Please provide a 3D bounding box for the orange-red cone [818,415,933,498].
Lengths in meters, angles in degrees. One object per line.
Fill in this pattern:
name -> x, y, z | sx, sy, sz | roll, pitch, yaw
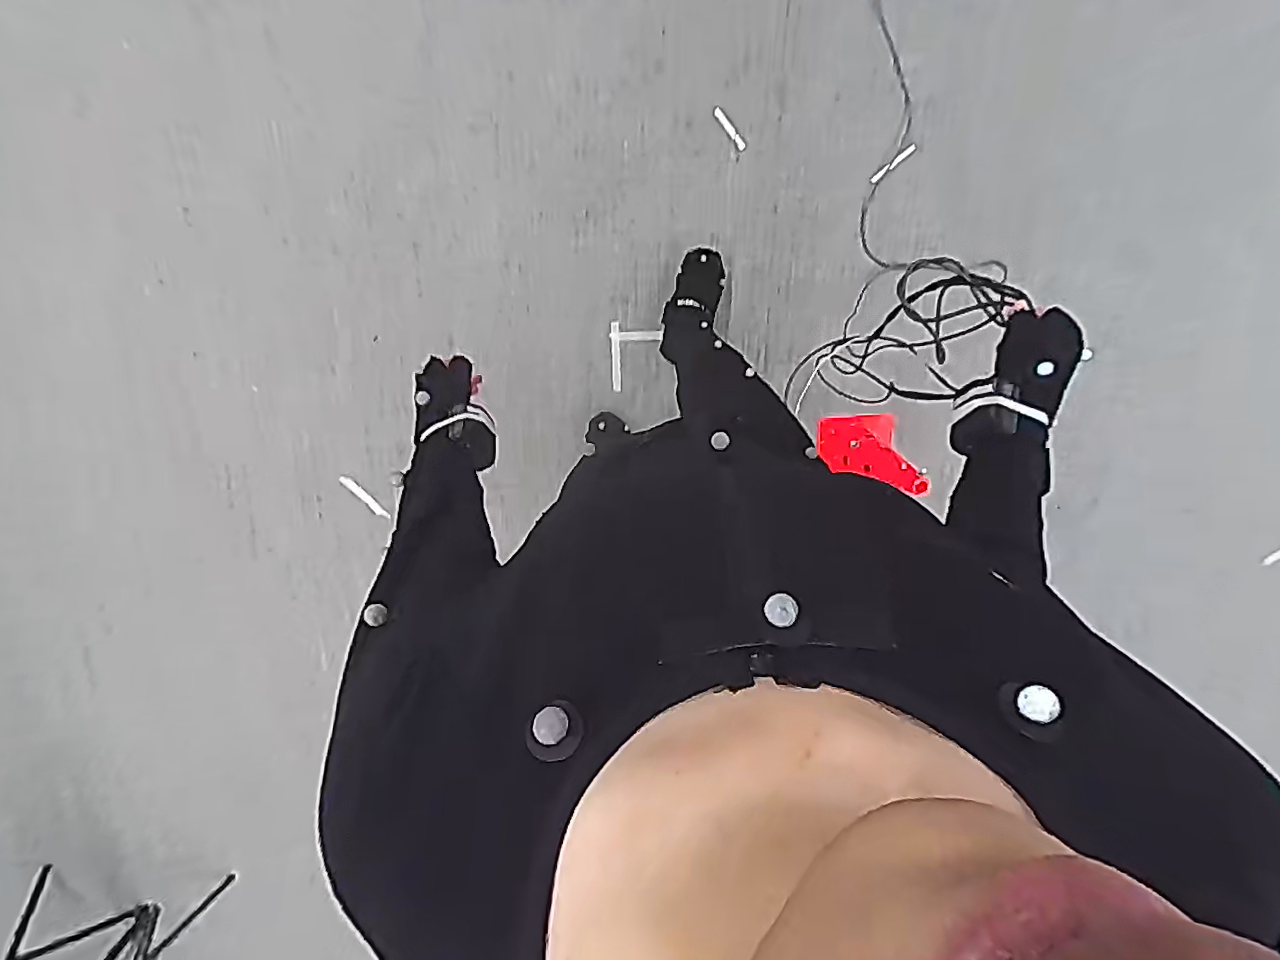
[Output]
orange-red cone -> 0.581, -0.029, 1.277 | 0.199, 0.360, 0.198 | -4, 105, -1
